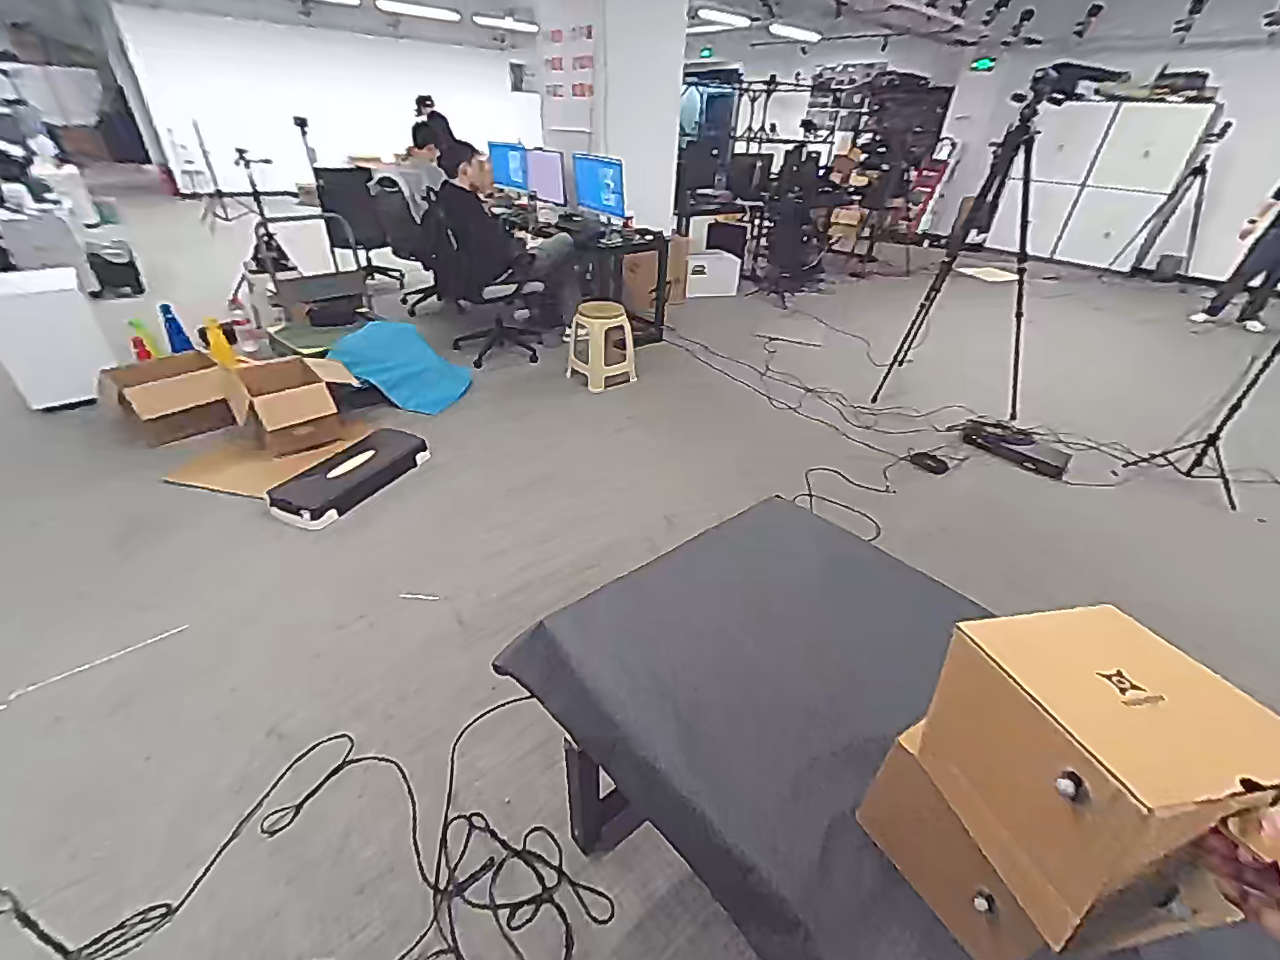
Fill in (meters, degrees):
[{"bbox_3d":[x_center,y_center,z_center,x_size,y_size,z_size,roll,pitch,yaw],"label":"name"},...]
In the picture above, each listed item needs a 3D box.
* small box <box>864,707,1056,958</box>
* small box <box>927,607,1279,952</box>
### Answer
[{"bbox_3d":[0.376,0.355,0.575,0.168,0.176,0.179,-16,37,-27],"label":"small box"},{"bbox_3d":[0.373,0.230,0.444,0.168,0.176,0.179,-4,26,-9],"label":"small box"}]
